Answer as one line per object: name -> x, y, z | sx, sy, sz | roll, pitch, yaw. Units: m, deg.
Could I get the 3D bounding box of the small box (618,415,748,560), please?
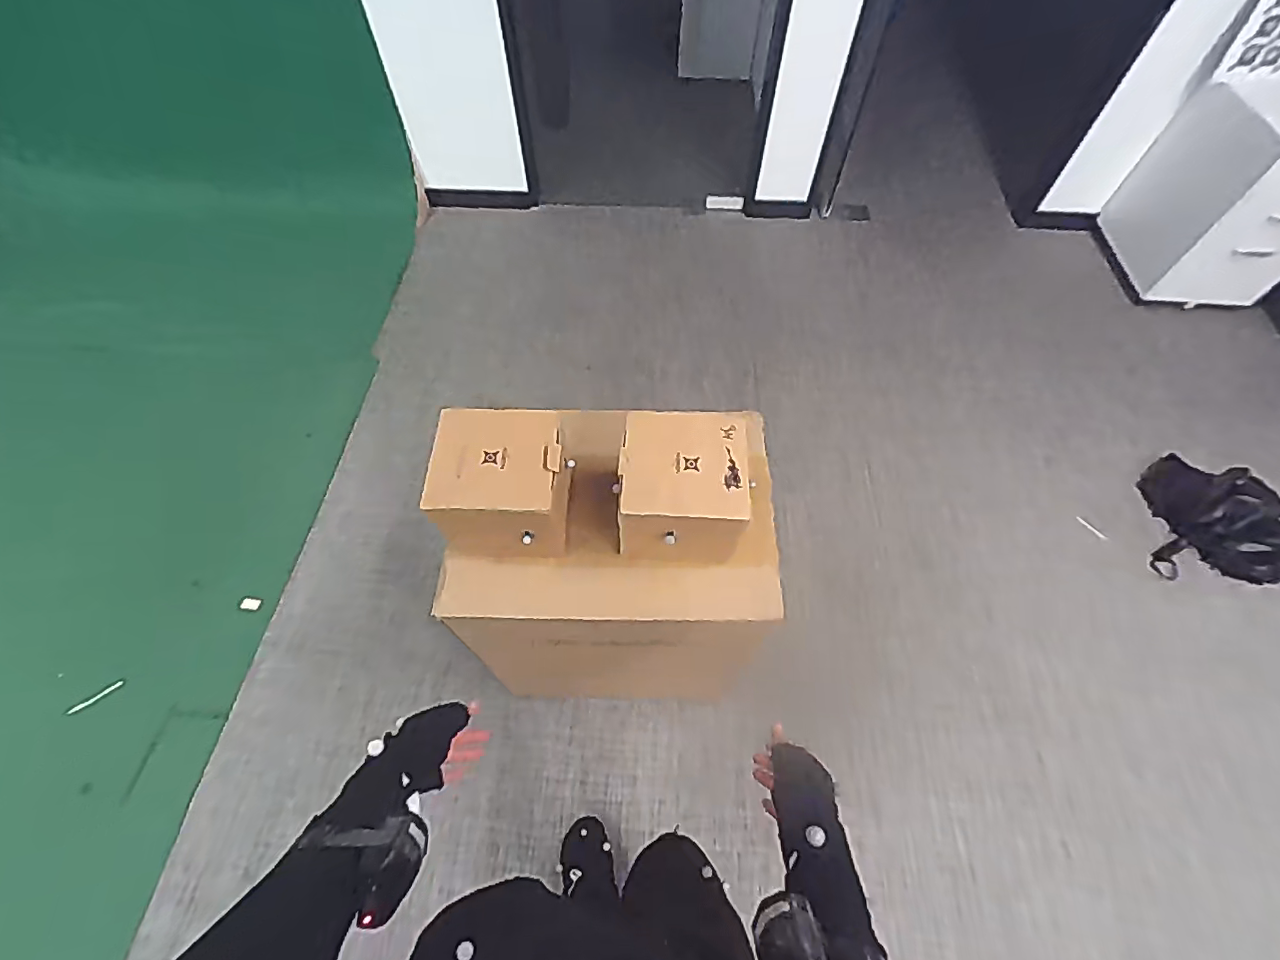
small box -> 0.062, 0.017, 0.823 | 0.179, 0.176, 0.168 | 2, 62, 1

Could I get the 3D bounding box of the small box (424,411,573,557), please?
small box -> -0.199, 0.011, 0.824 | 0.179, 0.176, 0.168 | 0, 61, 0
